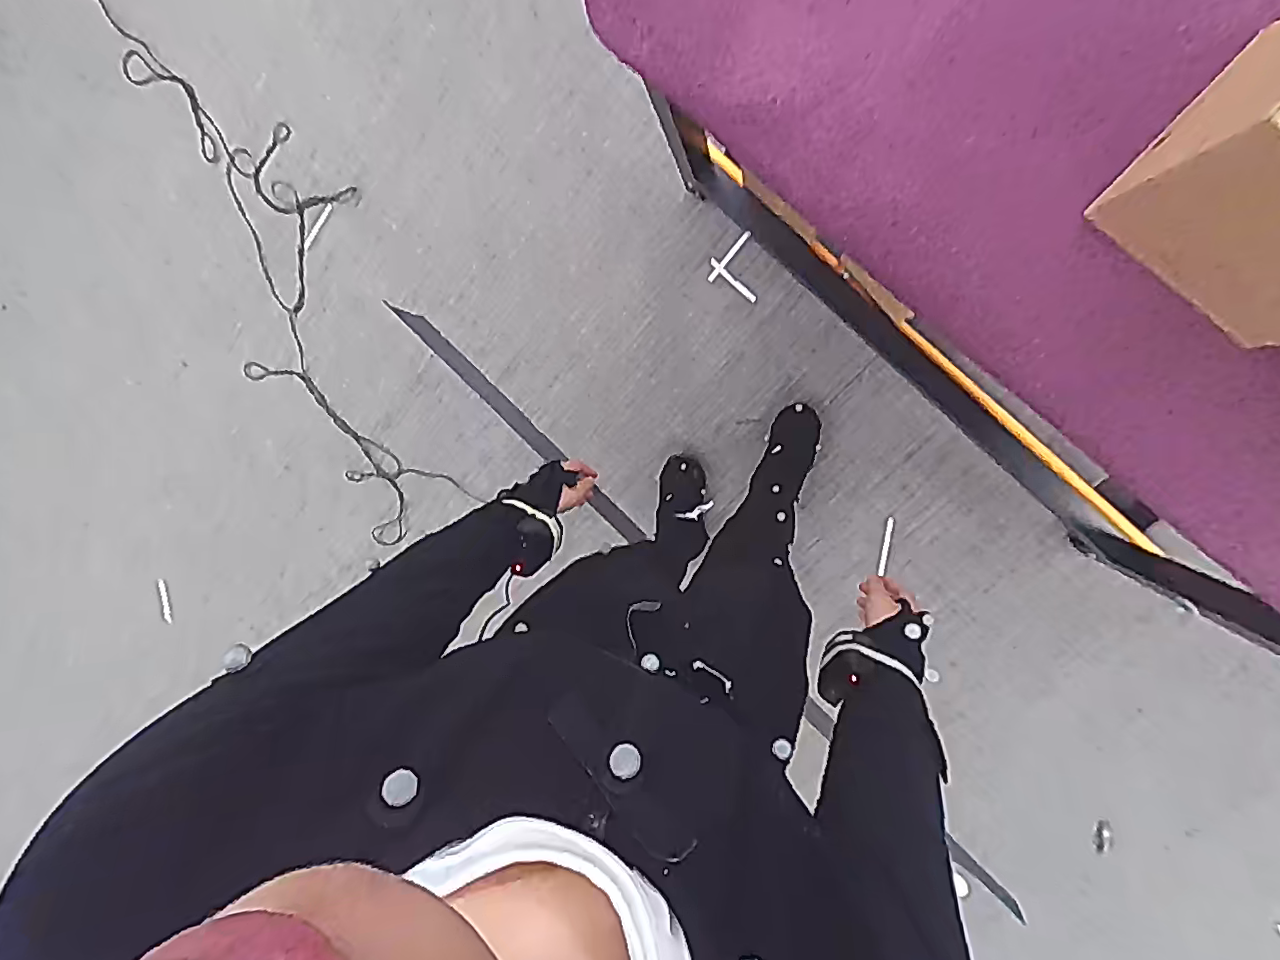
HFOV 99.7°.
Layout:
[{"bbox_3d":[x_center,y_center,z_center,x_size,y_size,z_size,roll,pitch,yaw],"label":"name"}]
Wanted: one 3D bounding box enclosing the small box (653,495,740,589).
[{"bbox_3d":[0.127,0.135,1.234,0.179,0.176,0.168,9,99,7],"label":"small box"}]
